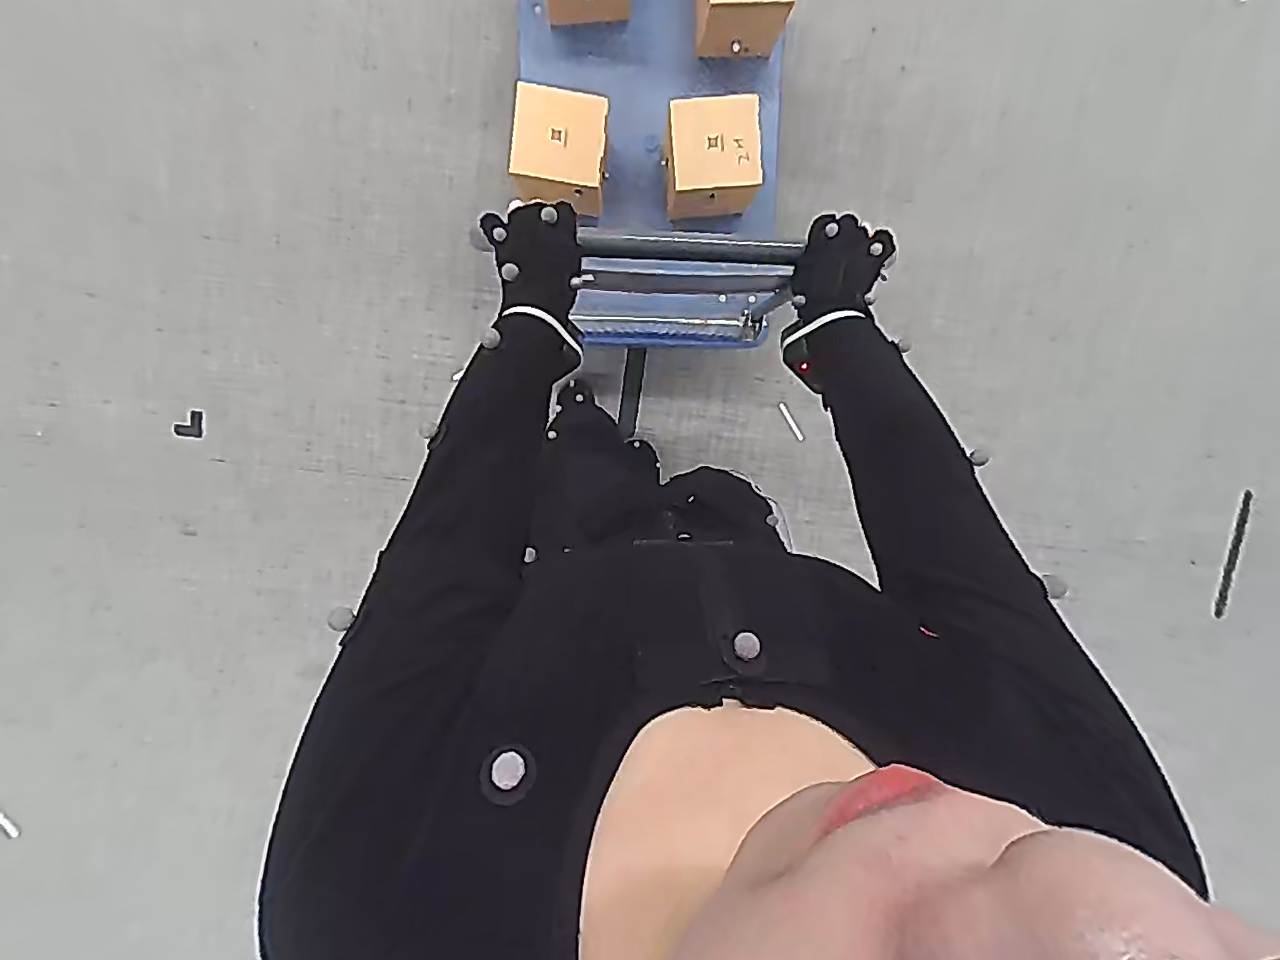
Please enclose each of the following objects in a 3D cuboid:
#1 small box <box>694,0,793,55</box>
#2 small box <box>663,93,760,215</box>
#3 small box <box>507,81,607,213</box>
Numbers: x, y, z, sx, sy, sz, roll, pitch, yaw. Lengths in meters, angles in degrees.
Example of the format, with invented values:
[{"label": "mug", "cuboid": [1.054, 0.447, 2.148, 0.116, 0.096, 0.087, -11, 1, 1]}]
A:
[{"label": "small box", "cuboid": [0.199, -0.994, 1.075, 0.168, 0.176, 0.179, -3, 100, -2]}, {"label": "small box", "cuboid": [0.141, -0.665, 1.121, 0.179, 0.176, 0.168, -5, 99, -2]}, {"label": "small box", "cuboid": [-0.164, -0.667, 1.106, 0.179, 0.176, 0.168, 7, 97, -5]}]
